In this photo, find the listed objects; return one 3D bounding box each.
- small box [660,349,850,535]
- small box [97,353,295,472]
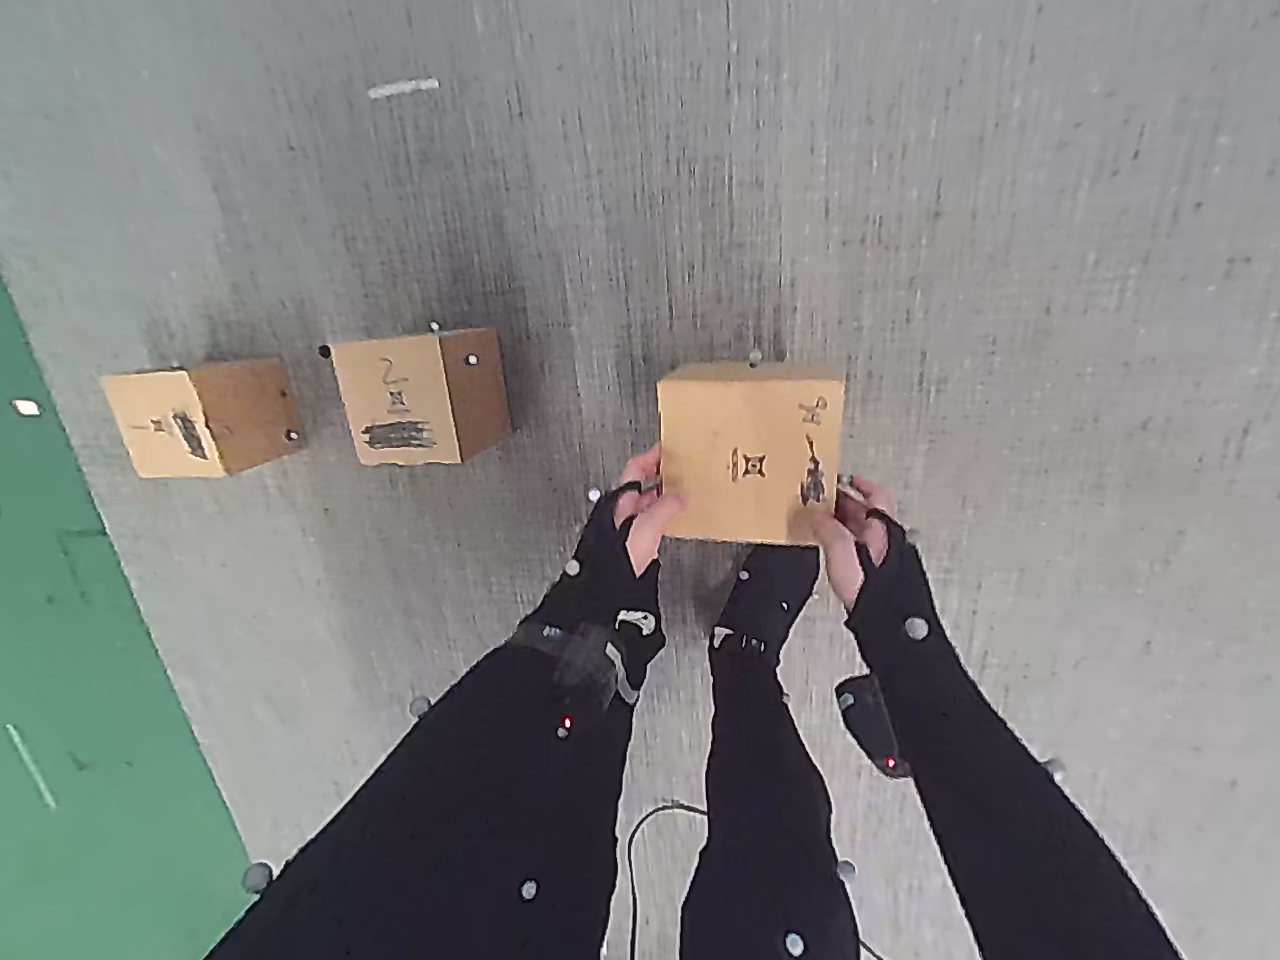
[{"bbox_3d":[0.127,-0.053,0.597,0.179,0.176,0.168,3,108,15],"label":"small box"},{"bbox_3d":[-0.707,-0.116,0.889,0.179,0.176,0.168,0,109,12],"label":"small box"}]
